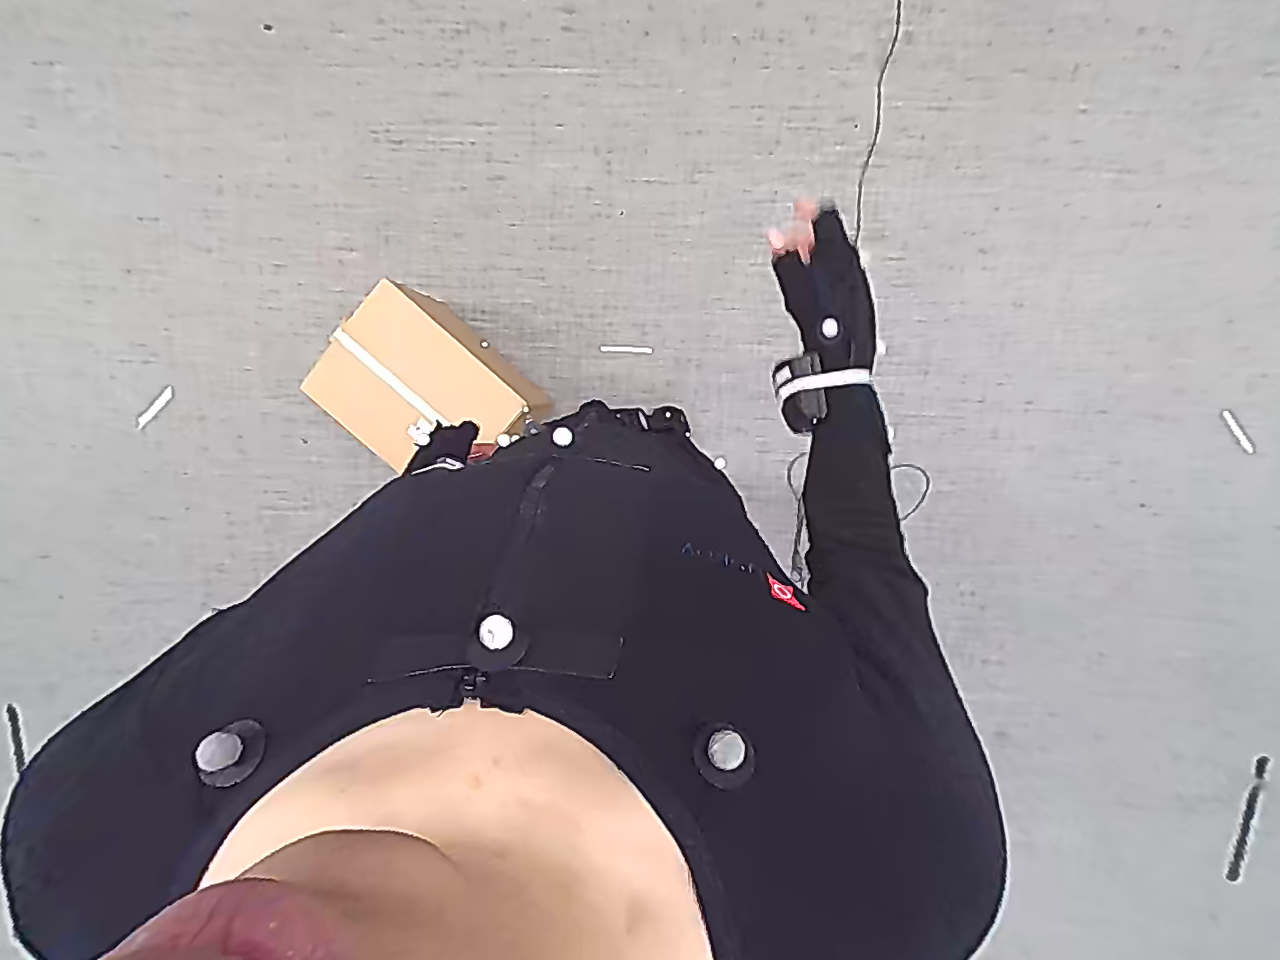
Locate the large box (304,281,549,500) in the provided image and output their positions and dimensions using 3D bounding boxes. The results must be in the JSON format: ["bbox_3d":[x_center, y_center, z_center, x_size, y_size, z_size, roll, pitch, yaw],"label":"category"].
[{"bbox_3d":[-0.495,-0.213,1.336,0.408,0.320,0.320,41,98,-5],"label":"large box"}]
